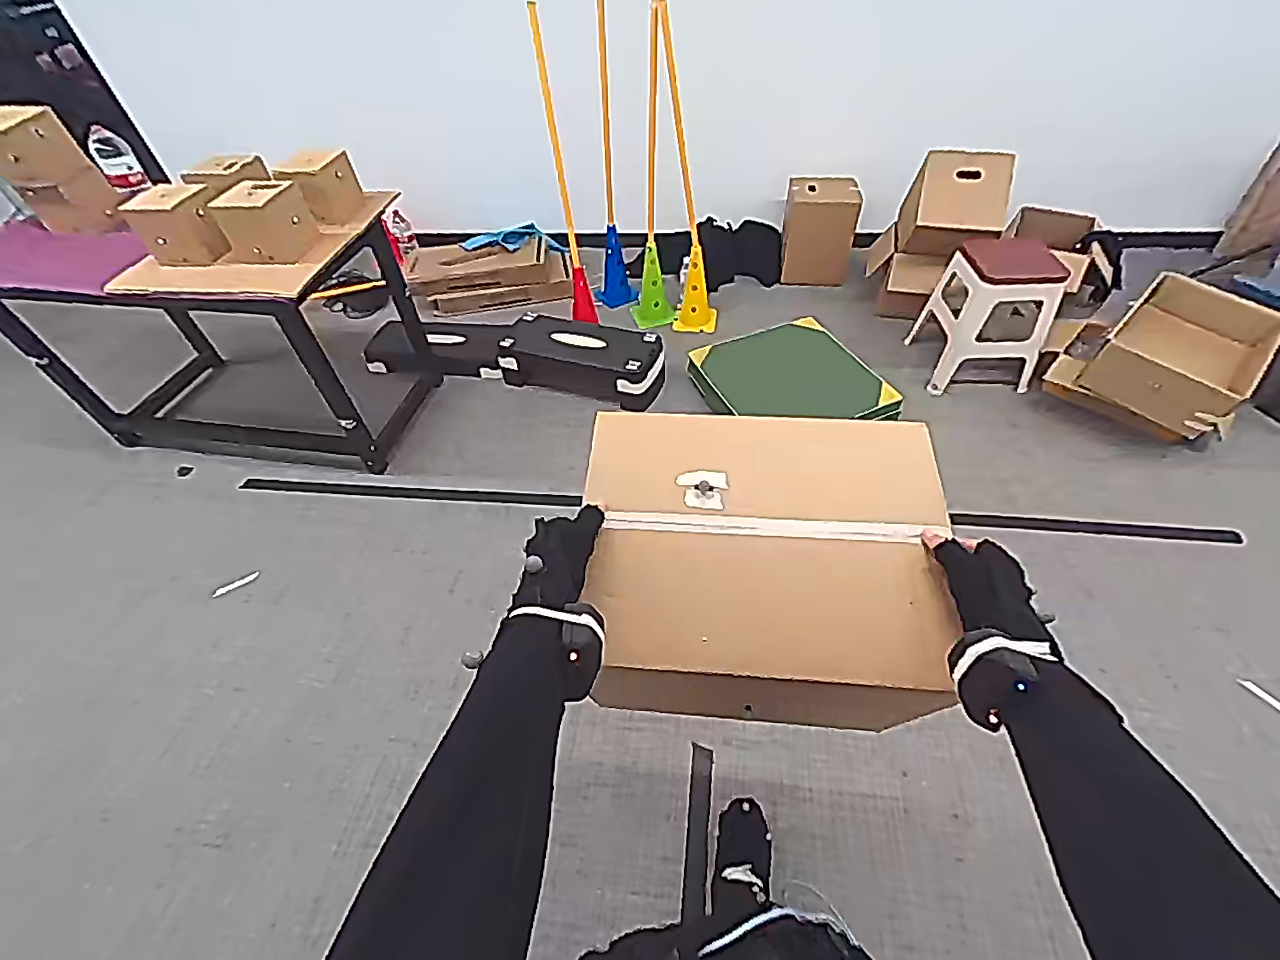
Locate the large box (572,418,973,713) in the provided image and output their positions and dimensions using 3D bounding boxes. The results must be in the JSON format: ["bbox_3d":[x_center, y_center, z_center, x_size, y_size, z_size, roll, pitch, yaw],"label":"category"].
[{"bbox_3d":[0.148,0.130,0.741,0.408,0.320,0.320,2,59,6],"label":"large box"}]
